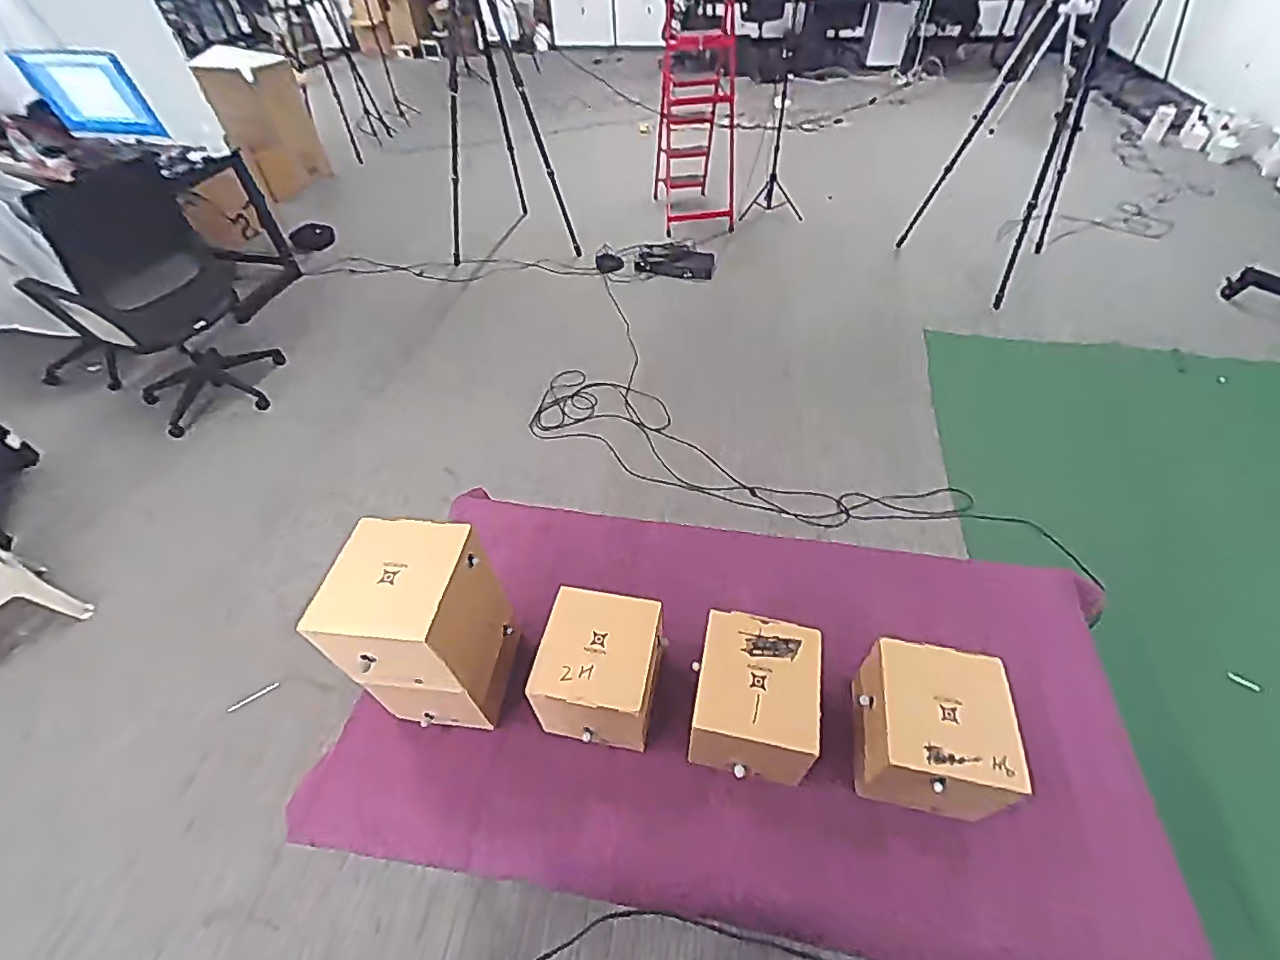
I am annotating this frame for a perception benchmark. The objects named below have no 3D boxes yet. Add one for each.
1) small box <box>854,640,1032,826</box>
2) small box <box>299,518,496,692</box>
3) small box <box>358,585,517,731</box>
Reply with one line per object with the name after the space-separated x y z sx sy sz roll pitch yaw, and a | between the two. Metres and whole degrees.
0.409 0.359 0.768 0.168 0.176 0.179 8 48 11 | small box
-0.316 0.176 0.753 0.168 0.176 0.179 3 47 7 | small box
-0.309 0.281 0.875 0.168 0.176 0.179 3 49 7 | small box
